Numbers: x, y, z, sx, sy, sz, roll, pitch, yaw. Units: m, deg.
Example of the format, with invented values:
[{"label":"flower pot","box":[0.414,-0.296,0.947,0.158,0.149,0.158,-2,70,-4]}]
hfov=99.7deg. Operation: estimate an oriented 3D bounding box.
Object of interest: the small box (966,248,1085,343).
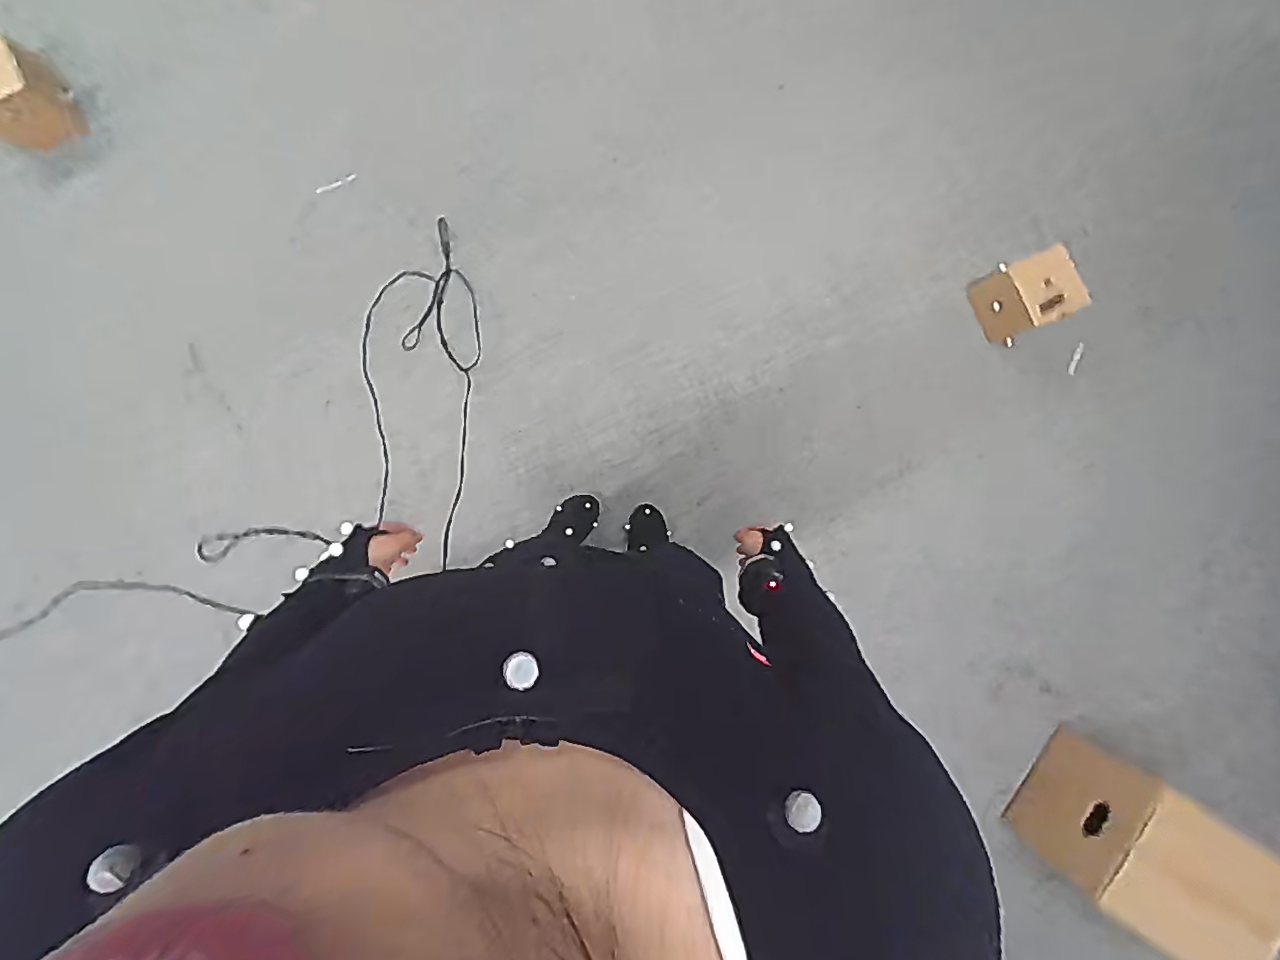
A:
[{"label":"small box","box":[1.042,-0.490,1.475,0.168,0.176,0.179,-23,89,-2]}]

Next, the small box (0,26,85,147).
[{"label":"small box","box":[-1.605,-0.998,1.380,0.179,0.176,0.168,-26,91,-4]}]
